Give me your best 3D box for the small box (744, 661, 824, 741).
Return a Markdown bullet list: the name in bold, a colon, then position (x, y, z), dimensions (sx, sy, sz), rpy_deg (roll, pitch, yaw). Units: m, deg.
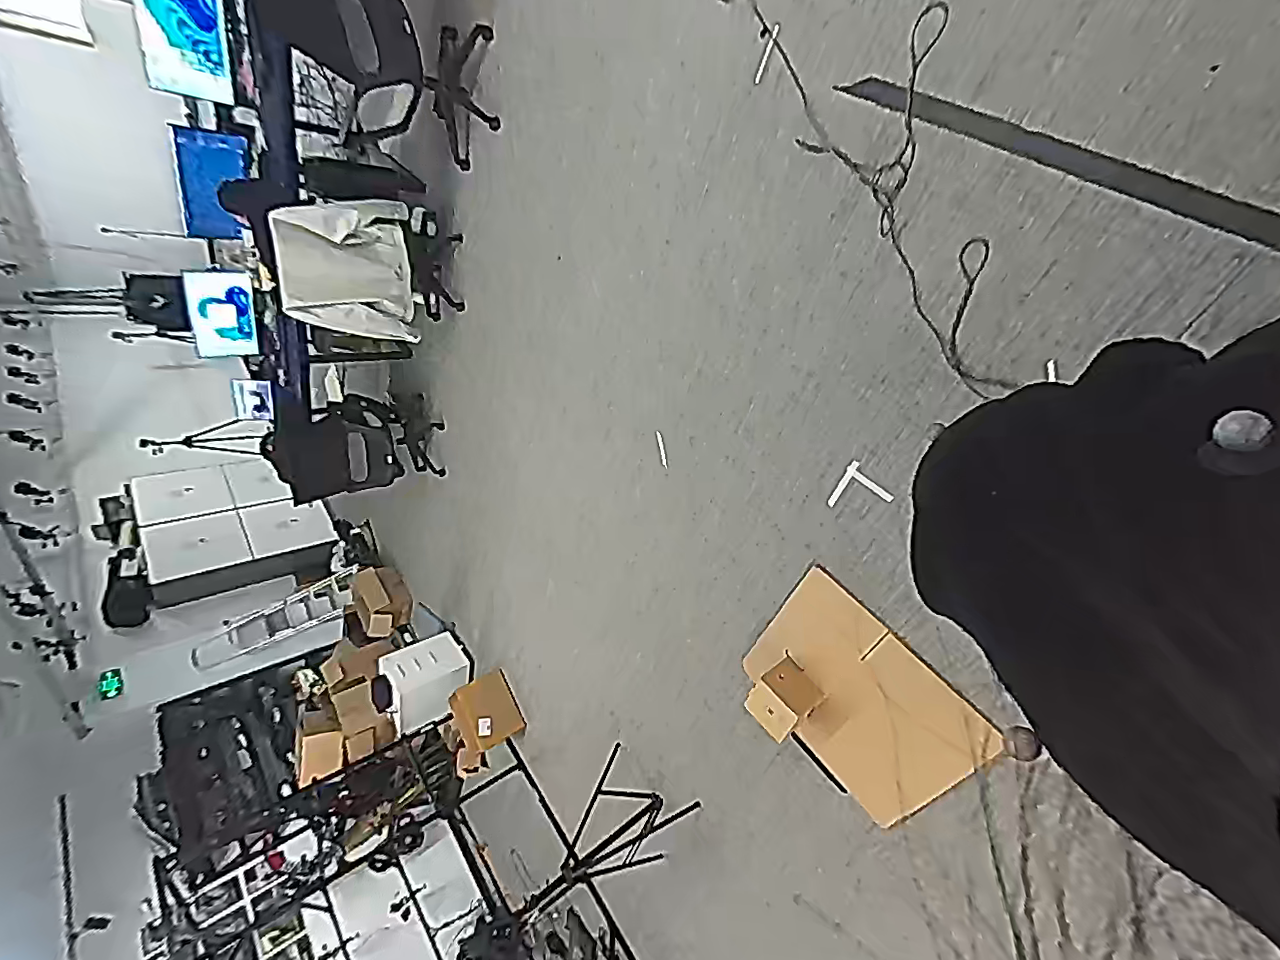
- **small box**: position (0.503, 0.761, 1.890), dimensions (0.179, 0.176, 0.168), rpy_deg (40, 130, 32)
